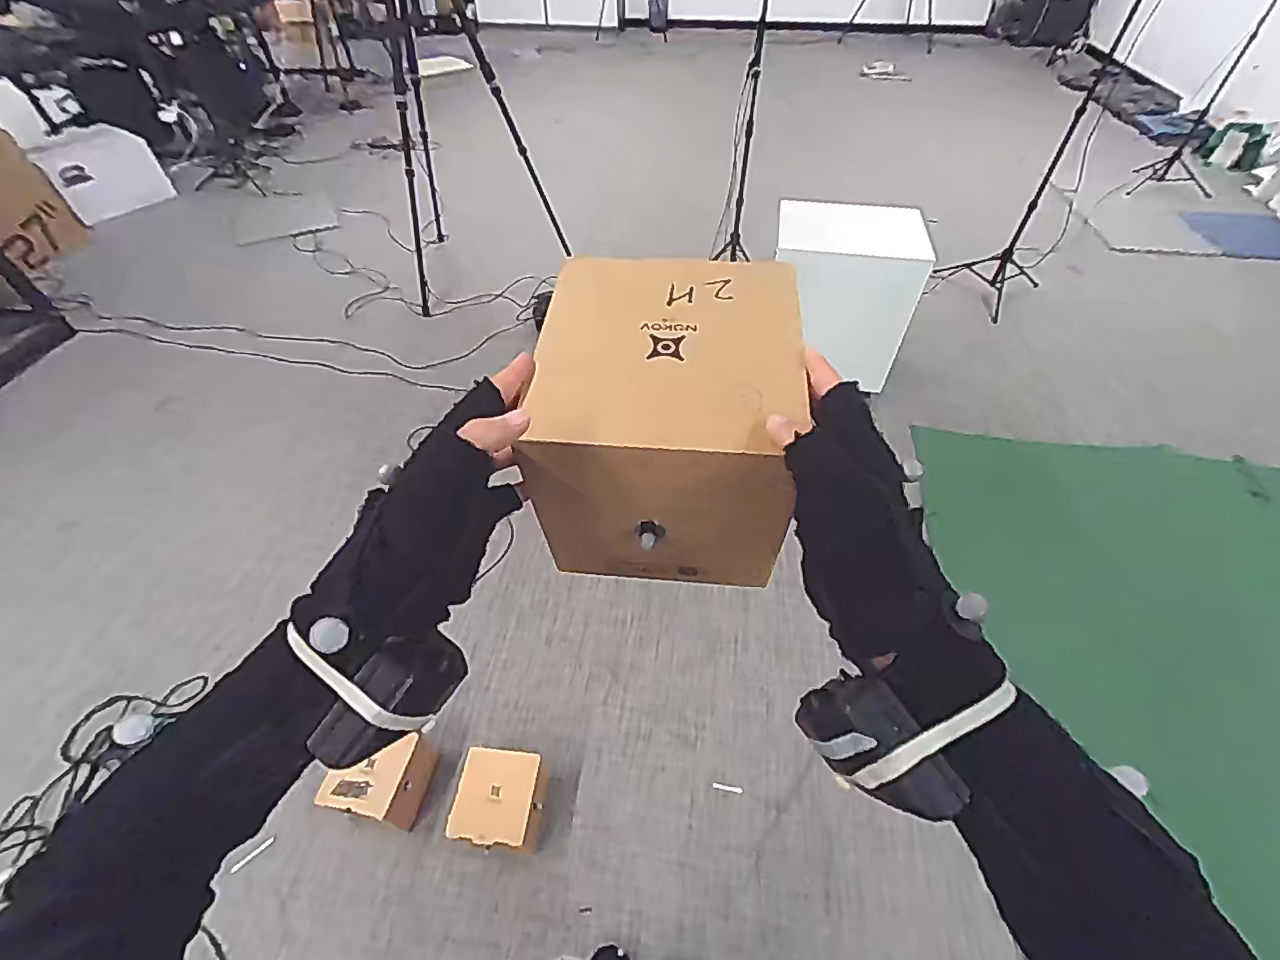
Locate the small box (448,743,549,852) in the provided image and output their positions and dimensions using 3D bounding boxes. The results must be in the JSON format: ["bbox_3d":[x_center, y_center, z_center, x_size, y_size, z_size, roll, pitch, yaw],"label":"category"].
[{"bbox_3d":[-0.308,0.719,1.223,0.168,0.176,0.179,4,50,4],"label":"small box"}]

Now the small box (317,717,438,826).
[{"bbox_3d":[-0.595,0.681,1.255,0.168,0.176,0.179,8,49,7],"label":"small box"}]
